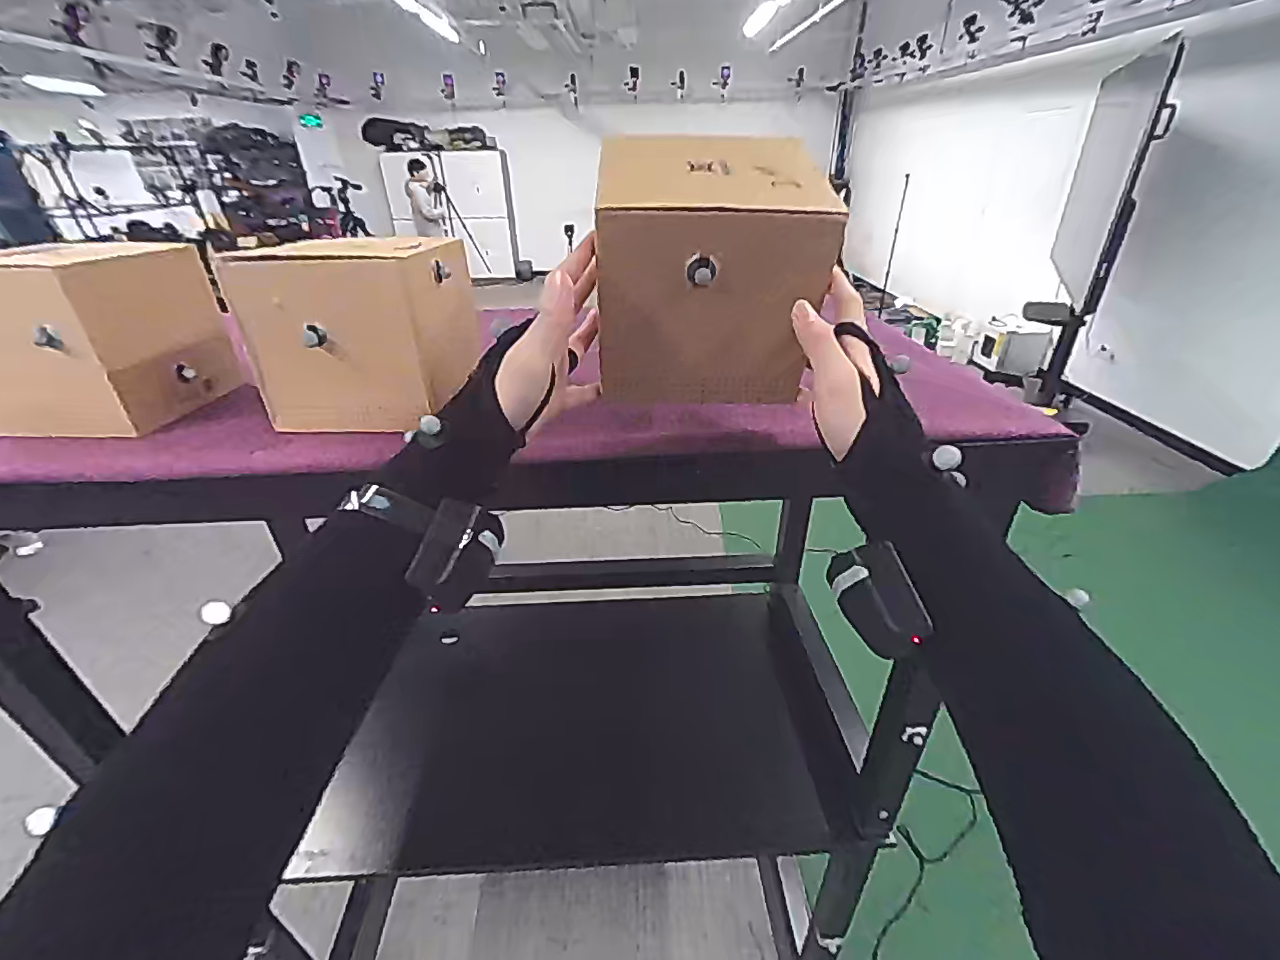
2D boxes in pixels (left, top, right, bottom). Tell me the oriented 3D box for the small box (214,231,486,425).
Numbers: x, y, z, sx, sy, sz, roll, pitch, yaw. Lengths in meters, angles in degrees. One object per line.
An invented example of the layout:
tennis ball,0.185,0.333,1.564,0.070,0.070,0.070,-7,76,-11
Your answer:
small box,-0.282,-0.163,0.575,0.179,0.176,0.168,-1,30,3

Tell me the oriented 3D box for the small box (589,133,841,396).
small box,0.051,-0.188,0.478,0.179,0.176,0.168,1,46,-1
